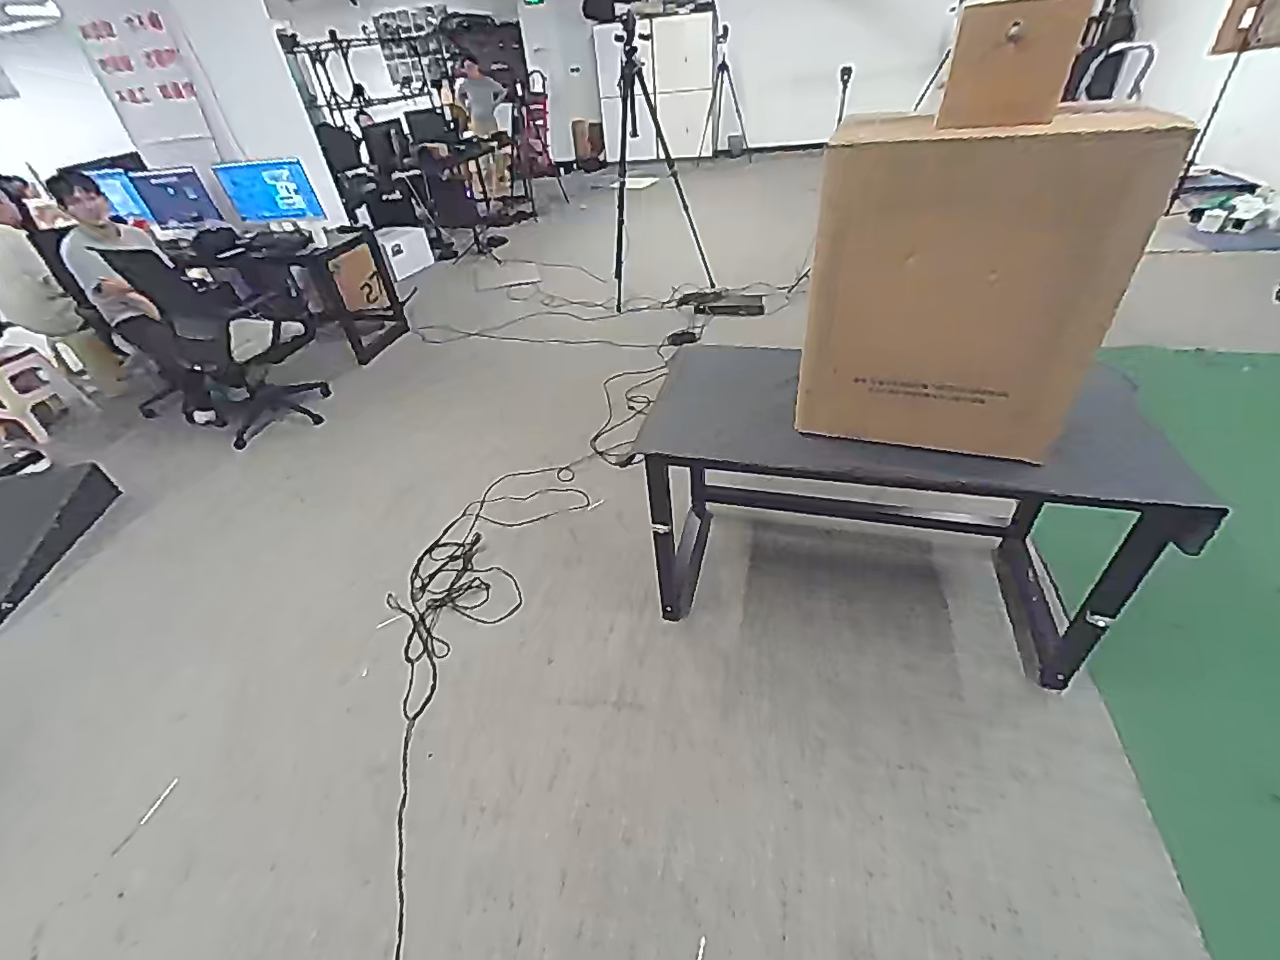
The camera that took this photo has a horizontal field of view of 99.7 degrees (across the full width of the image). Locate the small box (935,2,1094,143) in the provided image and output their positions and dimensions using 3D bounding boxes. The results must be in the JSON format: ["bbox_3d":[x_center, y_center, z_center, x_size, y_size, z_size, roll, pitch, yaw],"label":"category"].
[{"bbox_3d":[0.622,-0.690,0.922,0.179,0.176,0.168,10,43,21],"label":"small box"}]
